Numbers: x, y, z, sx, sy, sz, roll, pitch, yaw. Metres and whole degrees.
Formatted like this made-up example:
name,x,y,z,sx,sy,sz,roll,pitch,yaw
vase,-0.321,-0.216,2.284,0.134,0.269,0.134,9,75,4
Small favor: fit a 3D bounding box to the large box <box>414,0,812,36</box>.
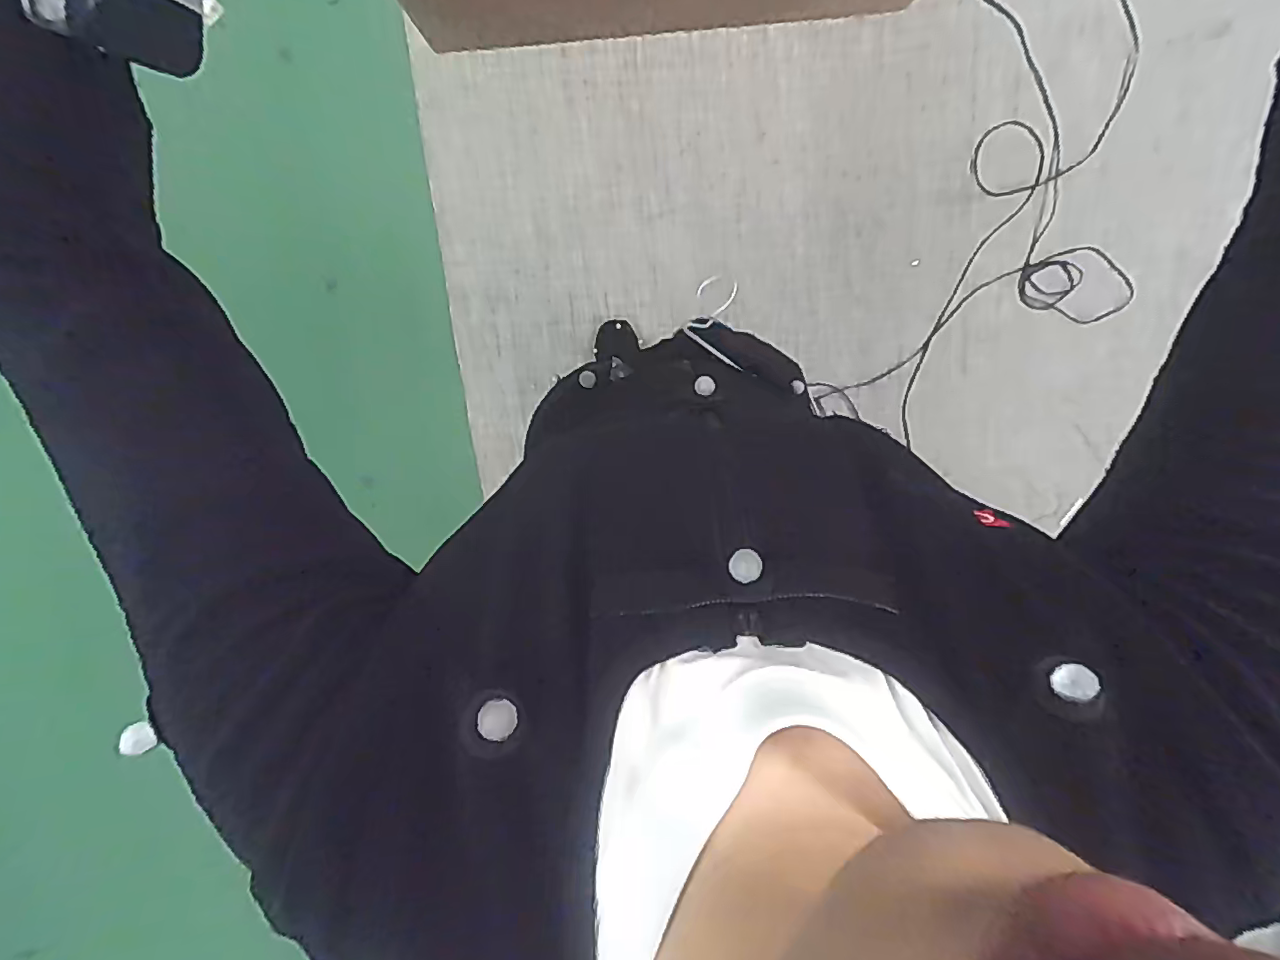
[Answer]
name,x,y,z,sx,sy,sz,roll,pitch,yaw
large box,0.021,-0.482,0.265,0.408,0.320,0.320,-7,111,-3
